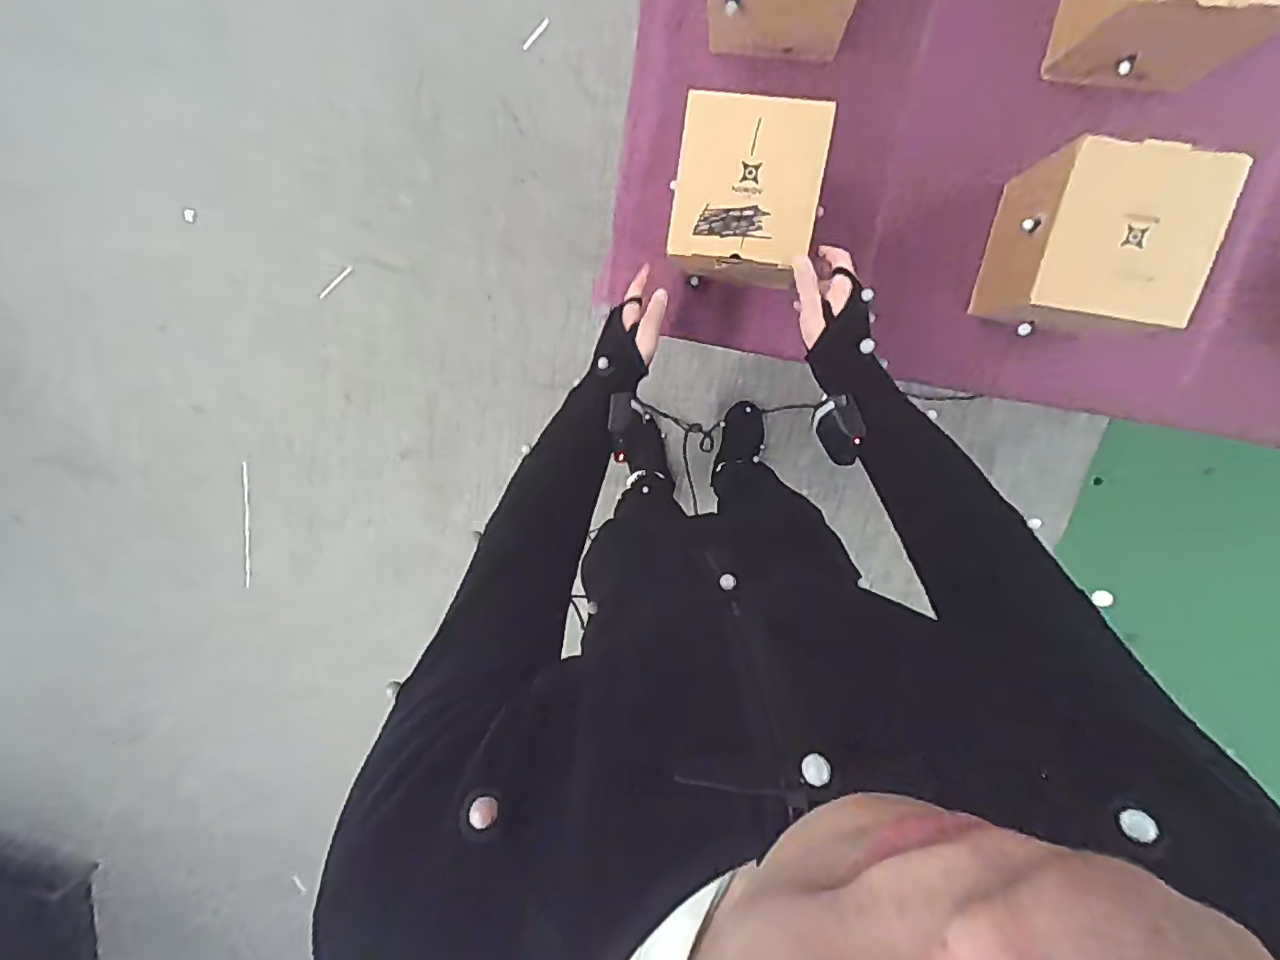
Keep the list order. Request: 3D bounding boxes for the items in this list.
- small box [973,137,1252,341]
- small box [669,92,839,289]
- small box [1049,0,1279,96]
[{"bbox_3d":[0.541,-0.274,0.654,0.168,0.176,0.179,13,103,6],"label":"small box"},{"bbox_3d":[0.136,-0.351,0.689,0.168,0.176,0.179,9,102,5],"label":"small box"},{"bbox_3d":[0.594,-0.559,0.585,0.168,0.176,0.179,10,105,5],"label":"small box"}]
